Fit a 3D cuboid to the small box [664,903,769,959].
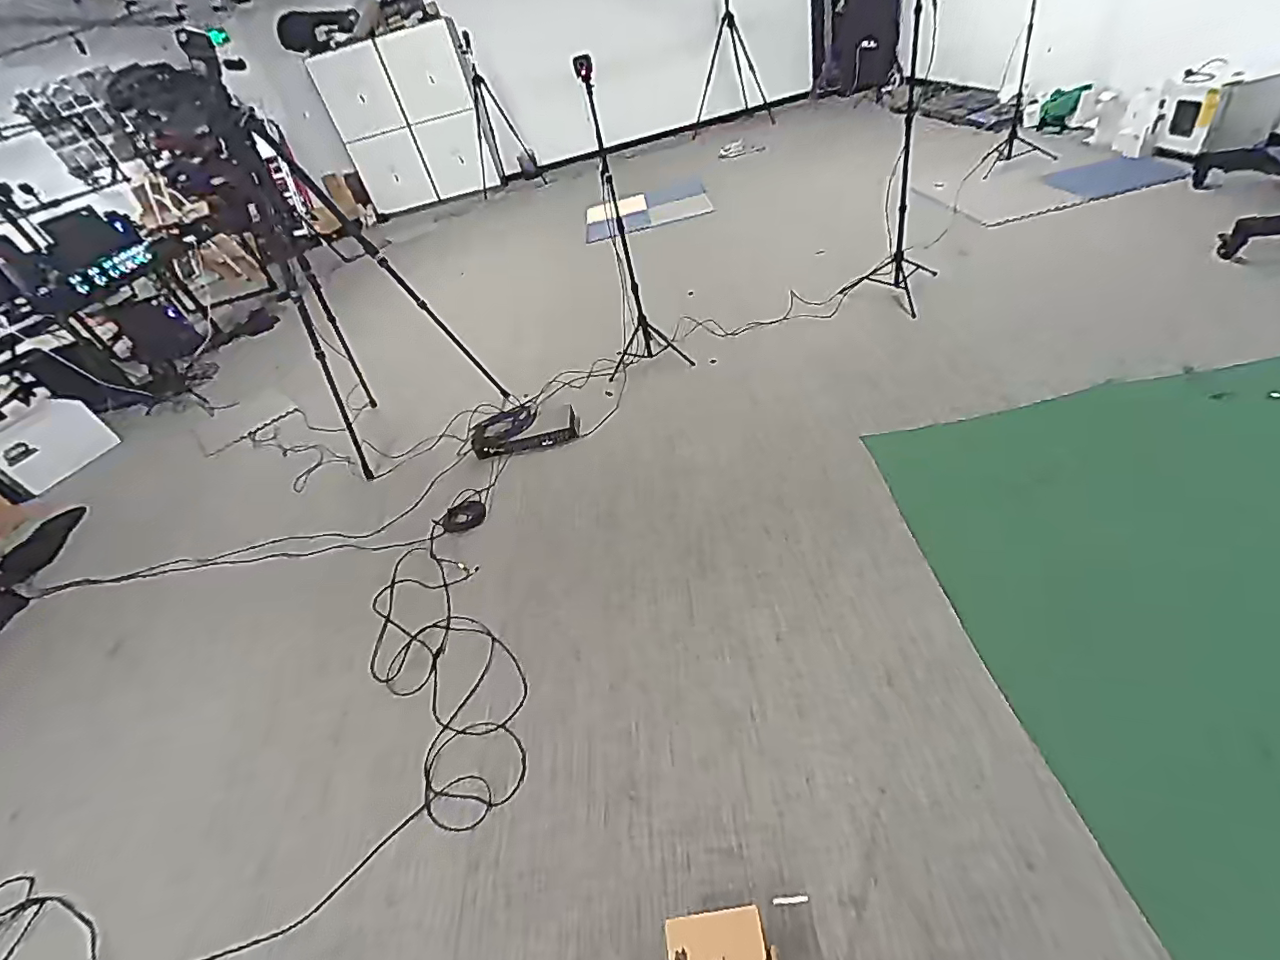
[{"bbox_3d":[0.151,0.896,0.980,0.179,0.176,0.168,-13,41,4],"label":"small box"}]
